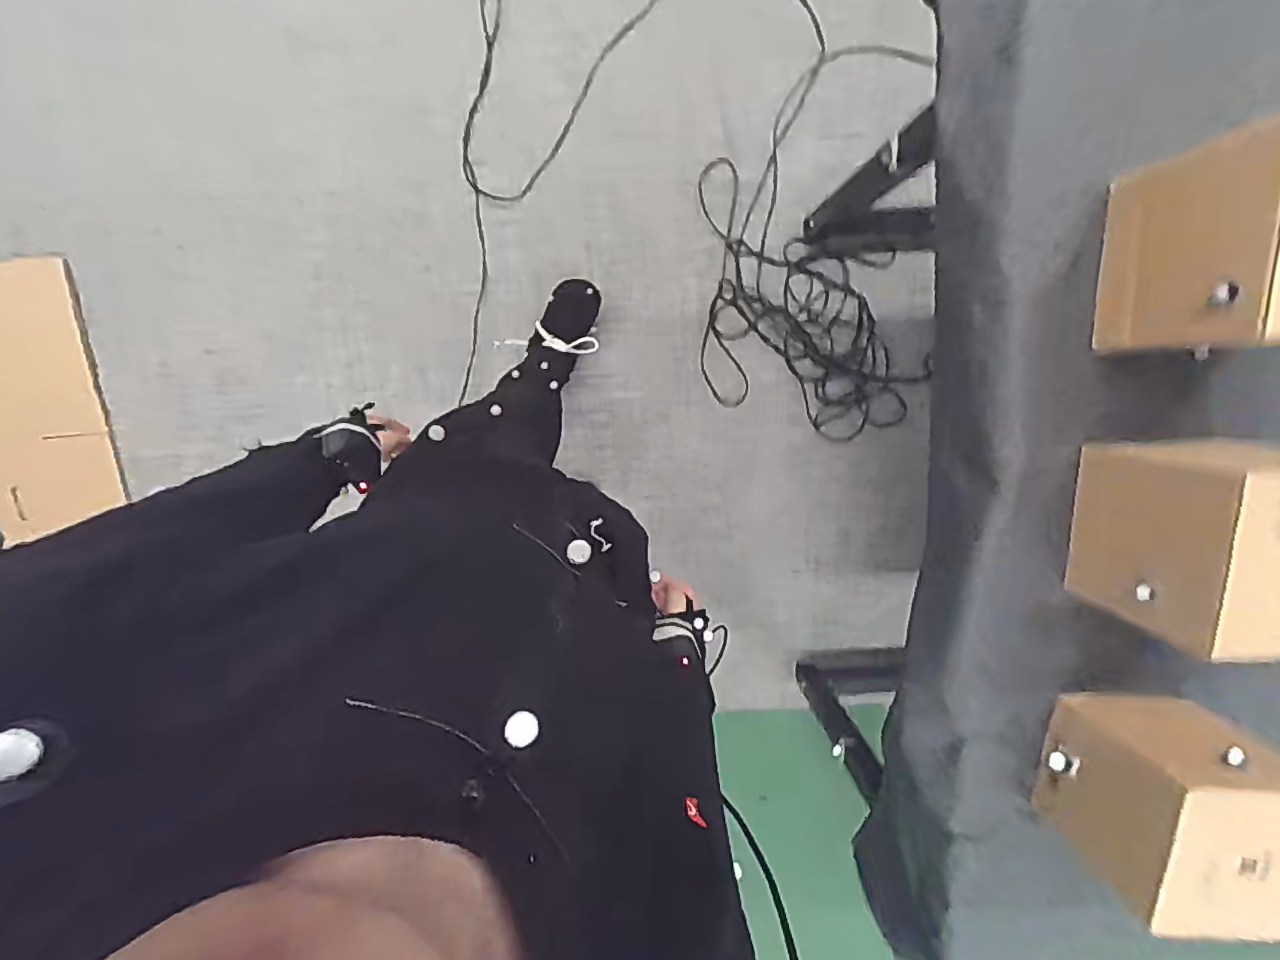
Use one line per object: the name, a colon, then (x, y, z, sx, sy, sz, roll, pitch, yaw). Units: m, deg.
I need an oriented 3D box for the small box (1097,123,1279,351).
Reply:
small box: (0.579, -0.216, 0.504, 0.168, 0.176, 0.179, -3, 101, -2)

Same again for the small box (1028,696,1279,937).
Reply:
small box: (0.596, 0.366, 0.614, 0.179, 0.176, 0.168, 4, 99, -2)
